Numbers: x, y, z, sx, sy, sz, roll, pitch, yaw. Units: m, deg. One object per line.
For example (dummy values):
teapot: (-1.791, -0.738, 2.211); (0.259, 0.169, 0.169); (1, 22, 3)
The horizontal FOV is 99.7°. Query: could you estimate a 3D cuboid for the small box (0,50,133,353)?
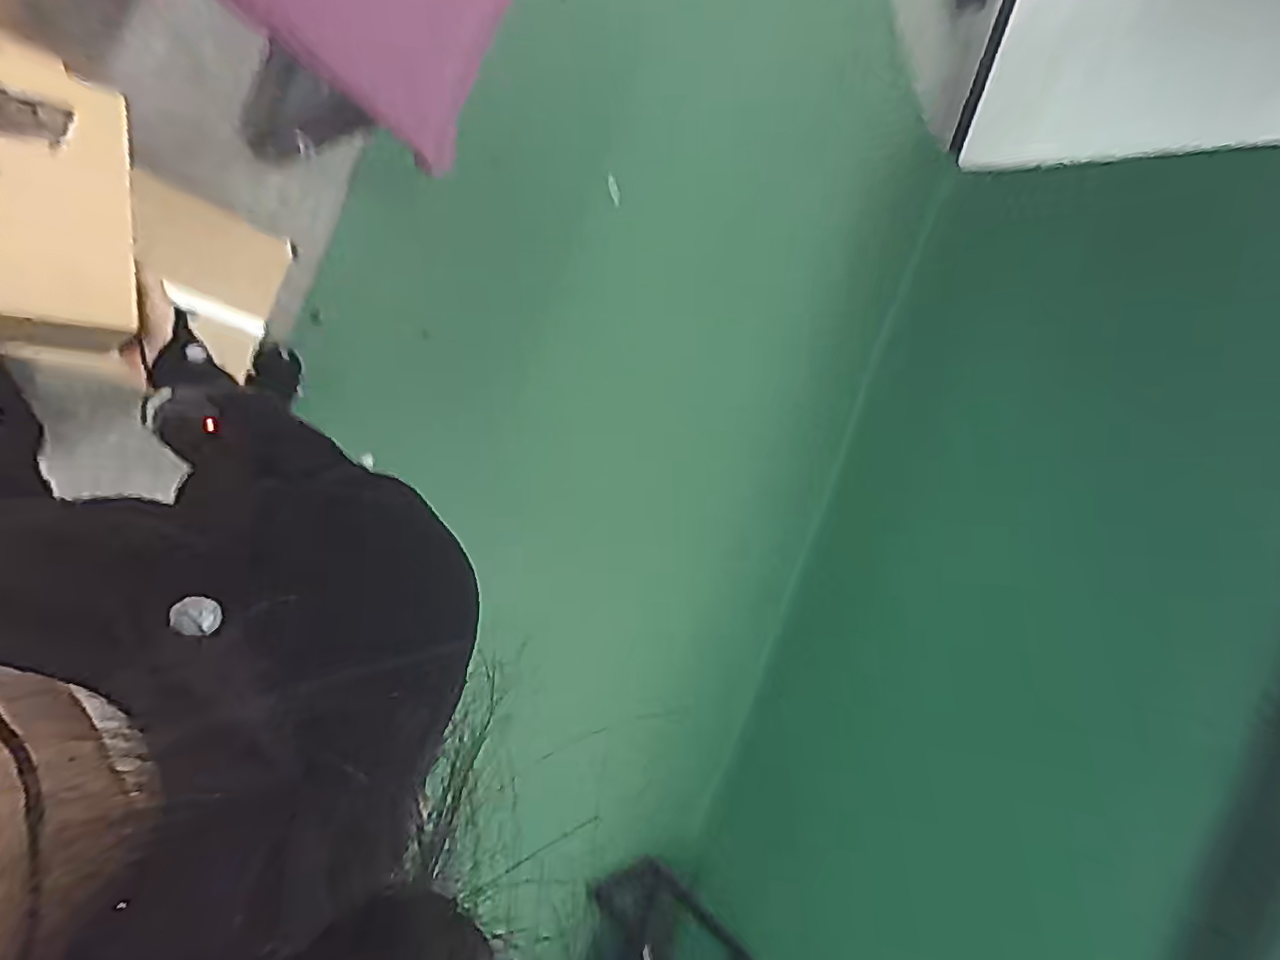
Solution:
small box: (-0.496, -0.200, 0.394); (0.168, 0.176, 0.179); (-2, 94, -50)
